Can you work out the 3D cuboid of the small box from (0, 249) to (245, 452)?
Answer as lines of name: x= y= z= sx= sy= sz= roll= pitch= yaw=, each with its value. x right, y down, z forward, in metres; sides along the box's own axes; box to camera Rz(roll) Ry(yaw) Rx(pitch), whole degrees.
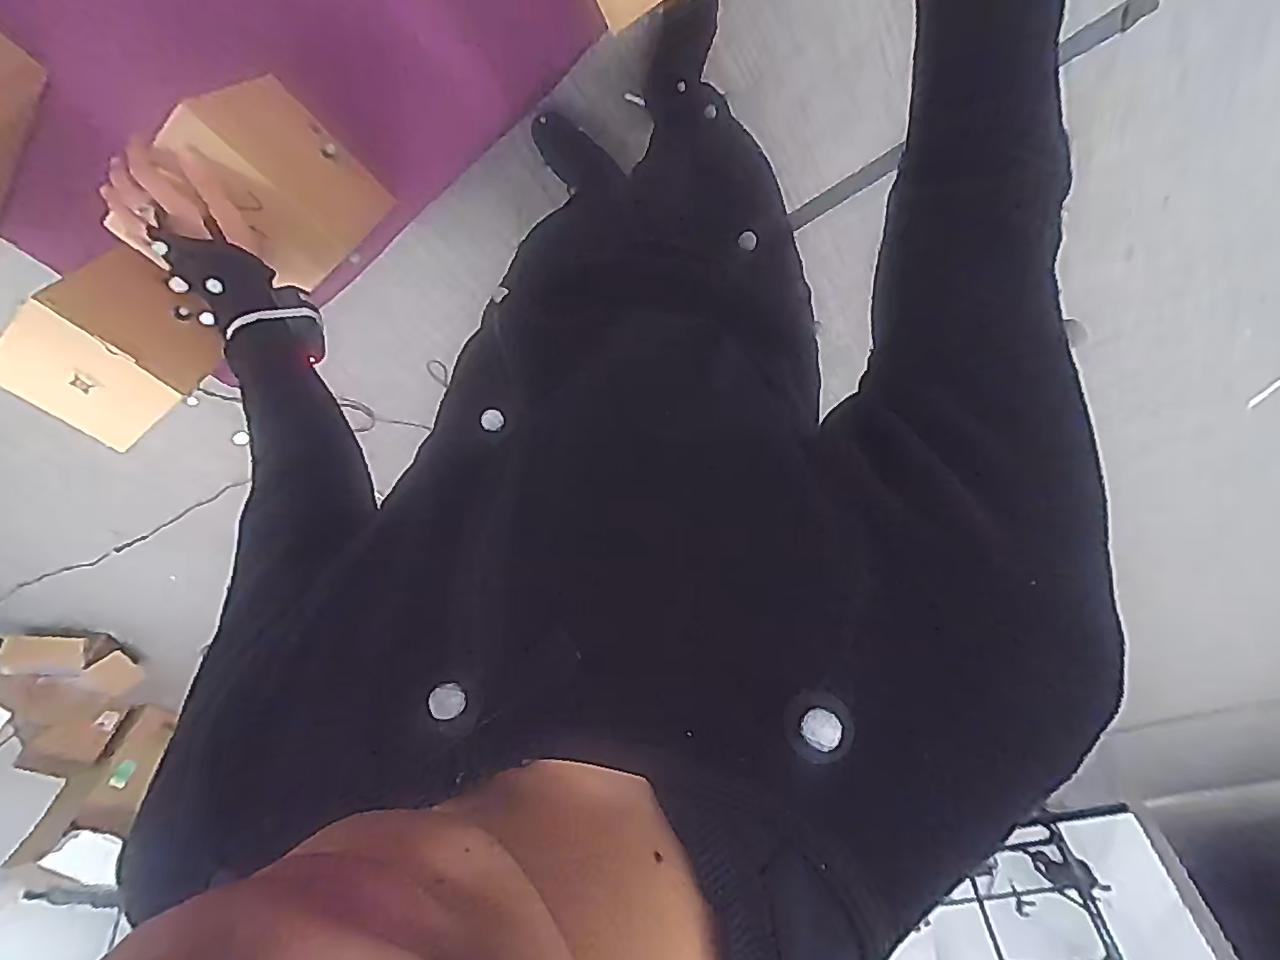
small box: x=-0.694 y=-0.176 z=0.738 sx=0.179 sy=0.176 sz=0.168 roll=-27 pitch=128 yaw=23
